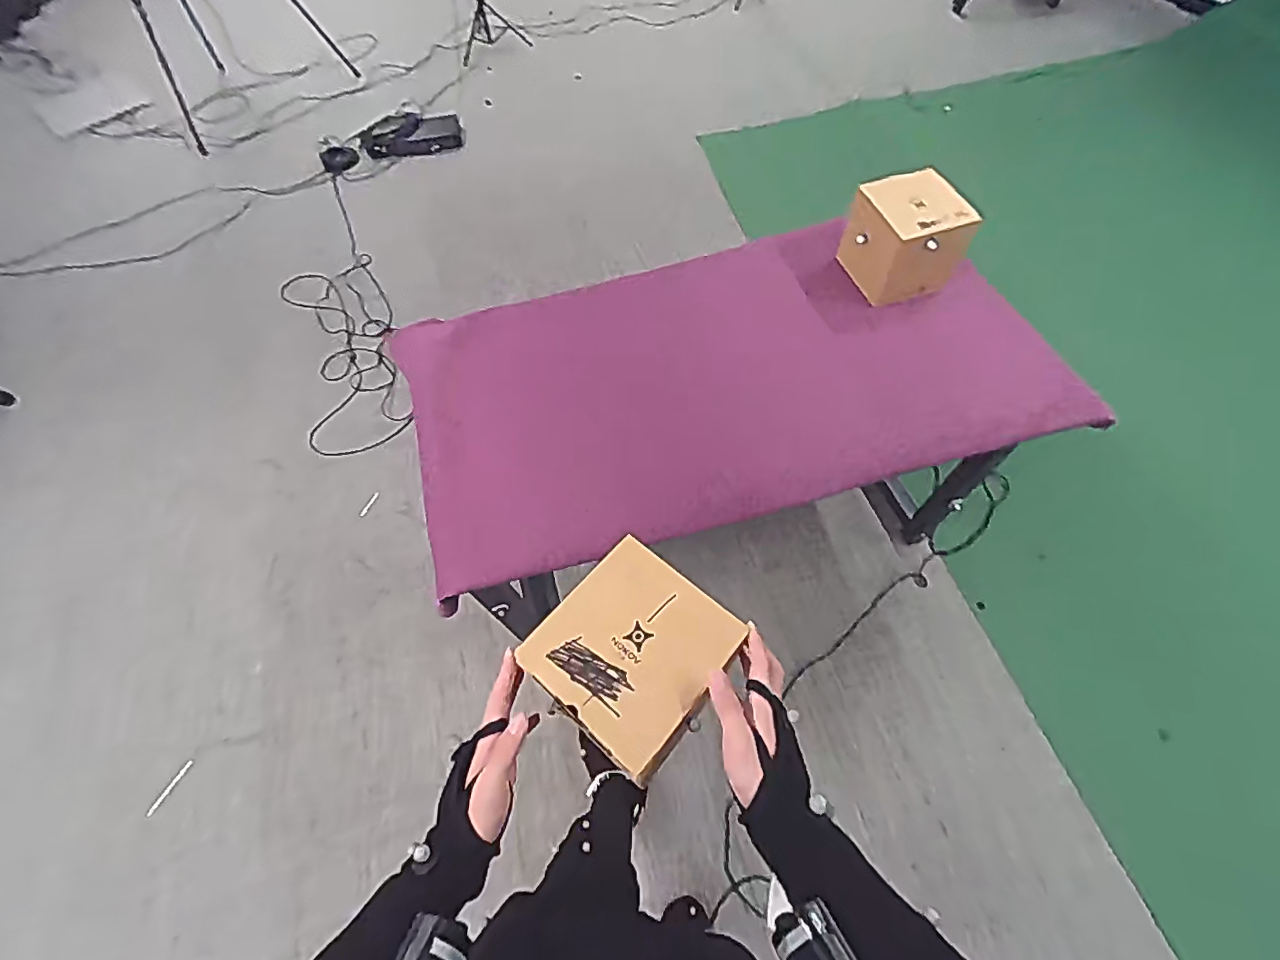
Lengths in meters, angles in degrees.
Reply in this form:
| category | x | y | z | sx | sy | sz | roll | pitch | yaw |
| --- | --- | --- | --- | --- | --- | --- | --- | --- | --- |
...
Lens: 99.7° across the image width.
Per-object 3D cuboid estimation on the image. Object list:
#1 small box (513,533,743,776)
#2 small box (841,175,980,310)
| category | x | y | z | sx | sy | sz | roll | pitch | yaw |
| --- | --- | --- | --- | --- | --- | --- | --- | --- | --- |
| small box | -0.006 | 0.199 | 0.602 | 0.168 | 0.176 | 0.179 | 35 | 65 | 22 |
| small box | 0.538 | -0.482 | 1.108 | 0.168 | 0.176 | 0.179 | -17 | 60 | -5 |
